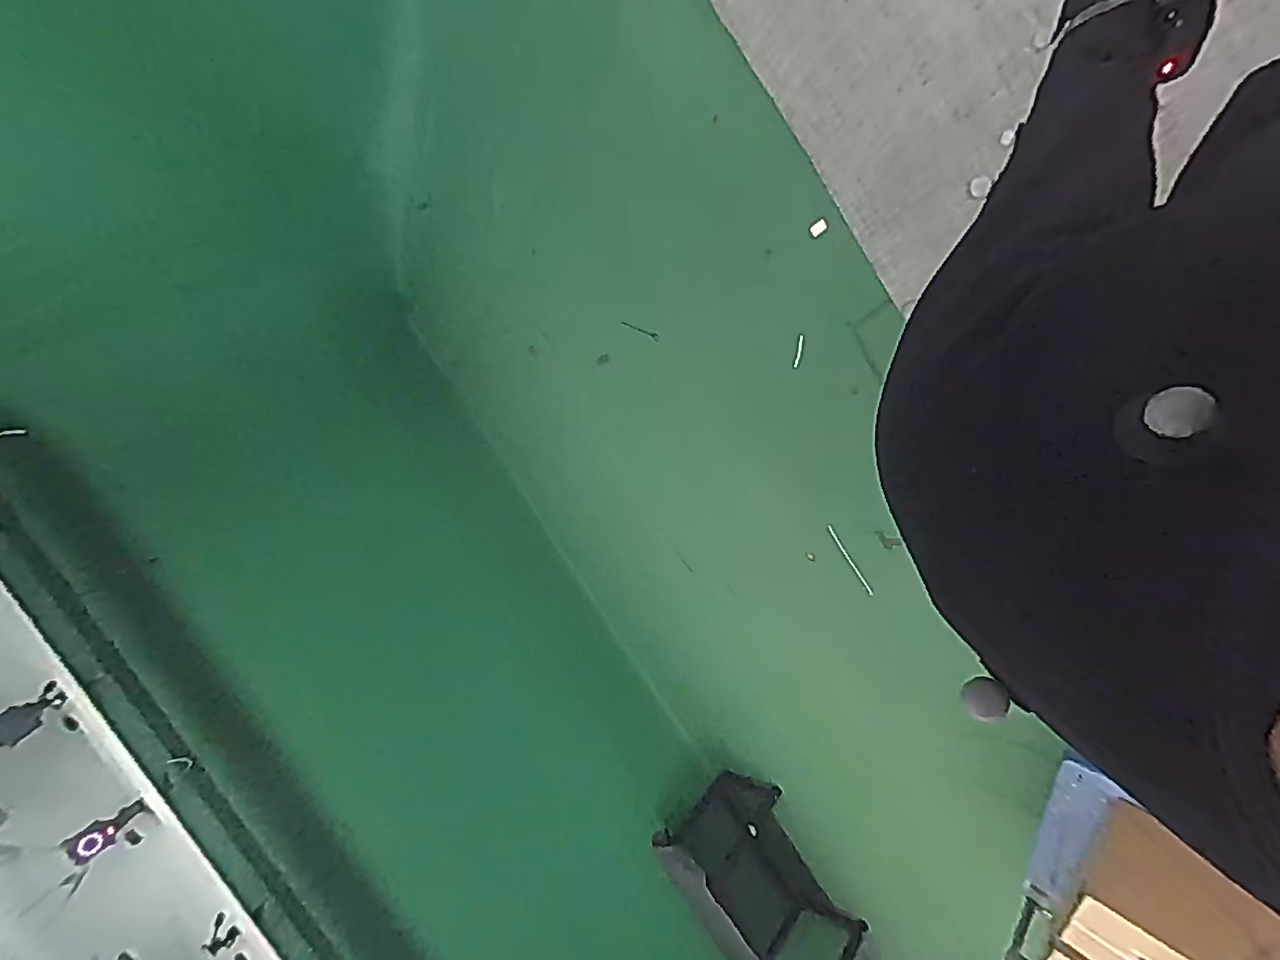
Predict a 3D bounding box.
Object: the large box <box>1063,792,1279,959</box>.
[{"bbox_3d":[1.400,1.111,1.377,0.408,0.320,0.320,23,139,42],"label":"large box"}]
